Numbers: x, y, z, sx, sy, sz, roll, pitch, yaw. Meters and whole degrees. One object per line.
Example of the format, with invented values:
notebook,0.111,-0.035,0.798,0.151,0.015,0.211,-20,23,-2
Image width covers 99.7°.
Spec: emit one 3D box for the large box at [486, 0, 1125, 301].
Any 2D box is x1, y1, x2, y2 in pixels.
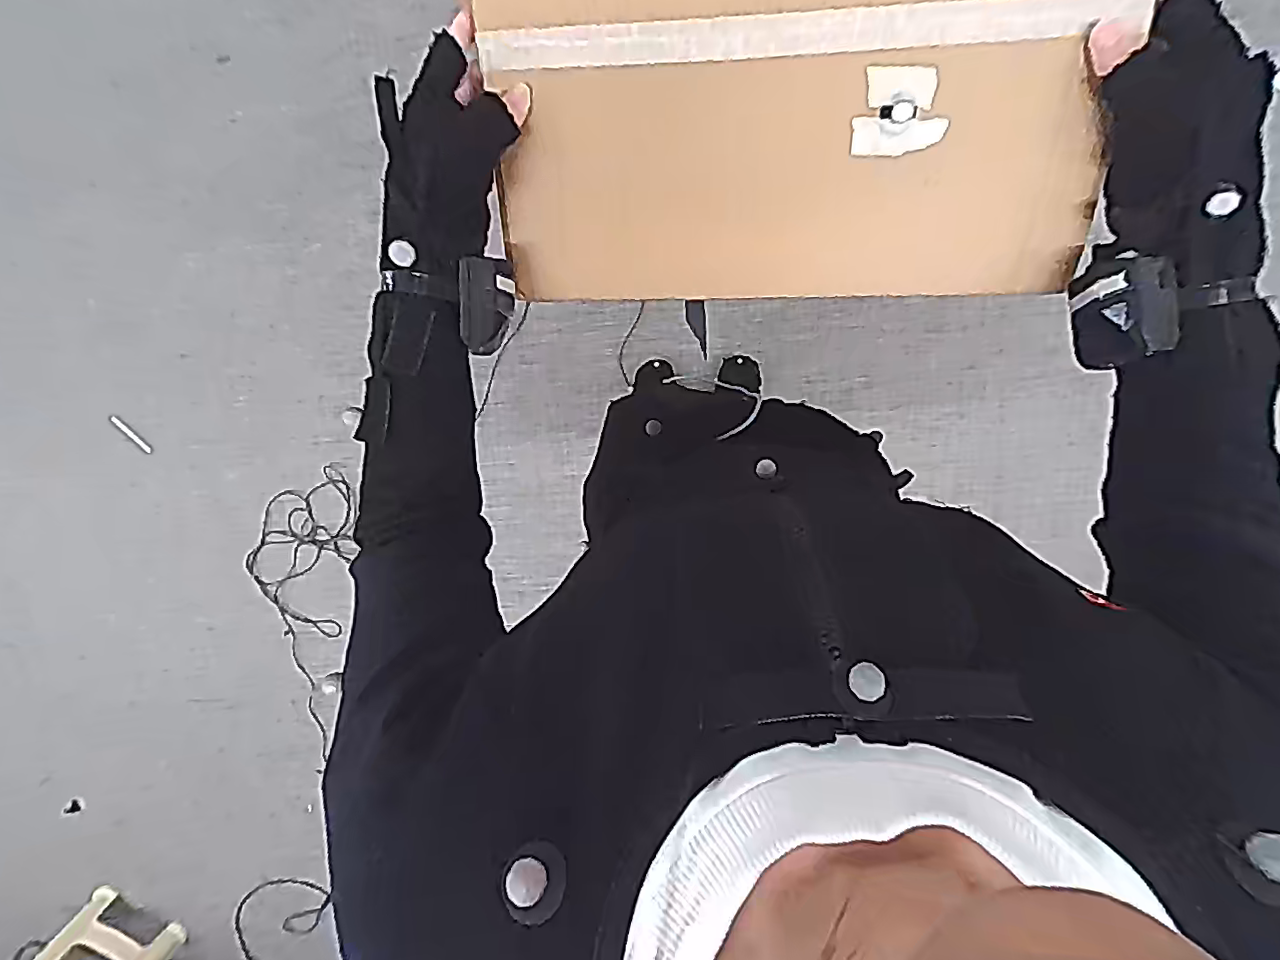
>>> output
large box,0.108,-0.346,0.484,0.408,0.320,0.320,0,115,5
